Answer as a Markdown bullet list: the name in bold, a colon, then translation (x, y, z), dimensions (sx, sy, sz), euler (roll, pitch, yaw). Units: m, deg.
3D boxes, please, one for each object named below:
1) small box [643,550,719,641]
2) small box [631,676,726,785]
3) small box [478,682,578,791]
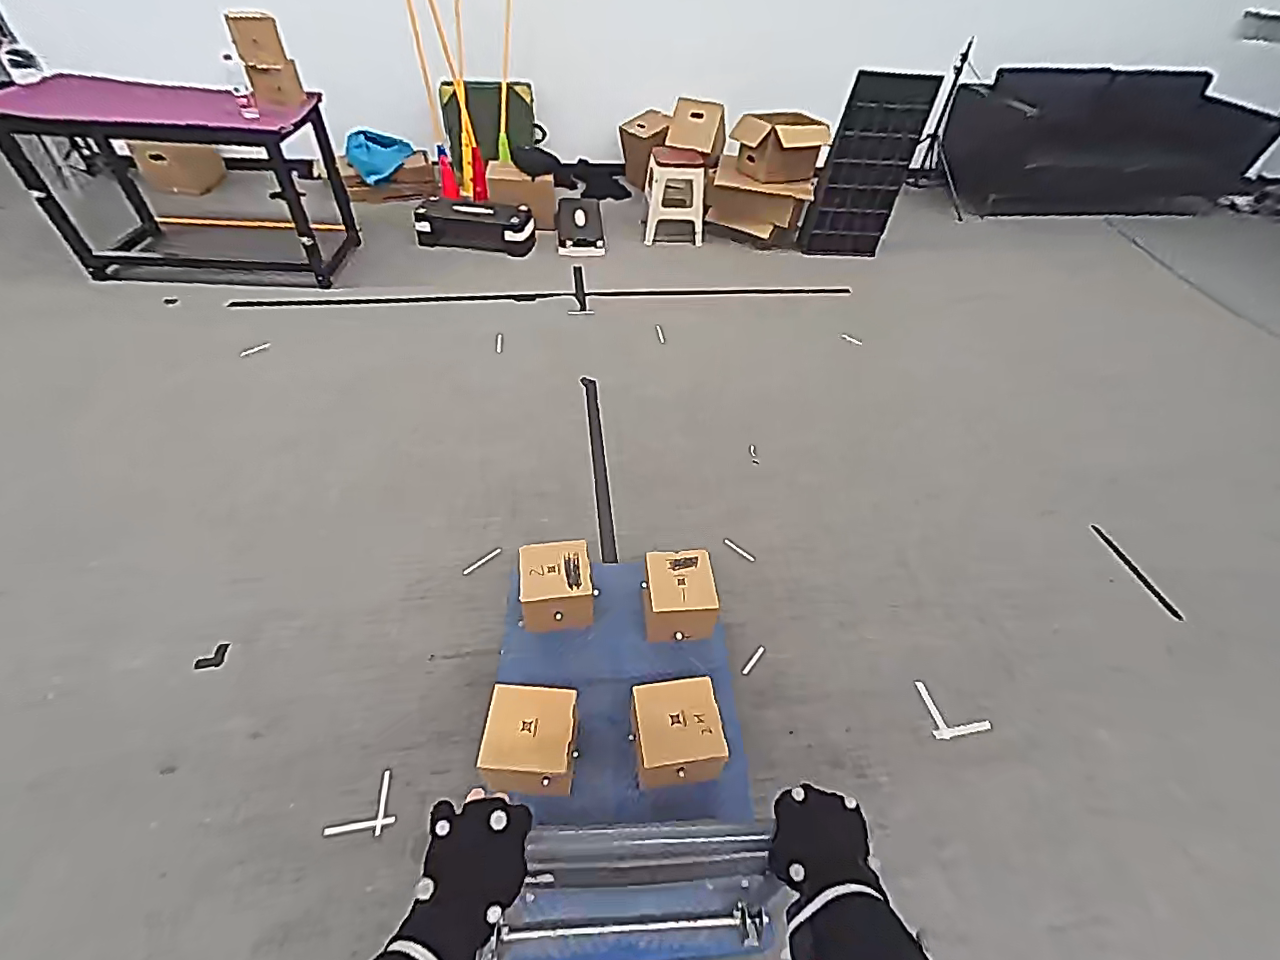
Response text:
- **small box**: translation (0.100, 0.304, 1.422), dimensions (0.168, 0.176, 0.179), euler (-1, 48, -6)
- **small box**: translation (0.075, 0.553, 1.187), dimensions (0.179, 0.176, 0.168), euler (-4, 47, -8)
- **small box**: translation (-0.231, 0.554, 1.162), dimensions (0.179, 0.176, 0.168), euler (5, 46, -1)
